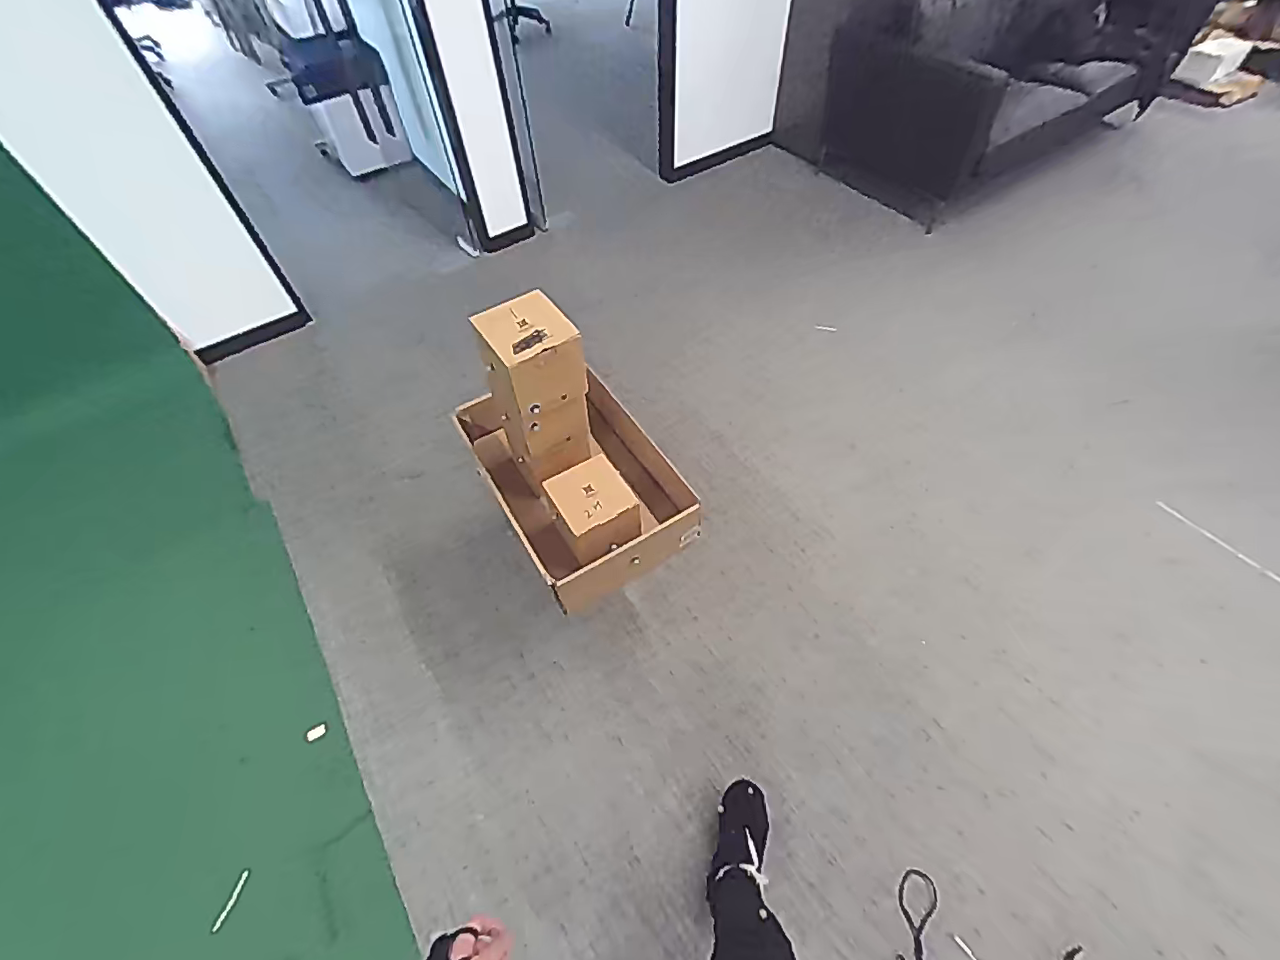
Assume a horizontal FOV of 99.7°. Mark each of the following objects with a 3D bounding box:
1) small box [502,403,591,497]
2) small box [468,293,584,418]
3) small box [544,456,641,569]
[{"bbox_3d":[-0.242,-0.087,1.430,0.168,0.176,0.179,-29,61,-17],"label":"small box"},{"bbox_3d":[-0.234,-0.256,1.147,0.168,0.176,0.179,-31,60,-18],"label":"small box"},{"bbox_3d":[-0.110,0.080,1.294,0.168,0.176,0.179,-28,56,-16],"label":"small box"}]
